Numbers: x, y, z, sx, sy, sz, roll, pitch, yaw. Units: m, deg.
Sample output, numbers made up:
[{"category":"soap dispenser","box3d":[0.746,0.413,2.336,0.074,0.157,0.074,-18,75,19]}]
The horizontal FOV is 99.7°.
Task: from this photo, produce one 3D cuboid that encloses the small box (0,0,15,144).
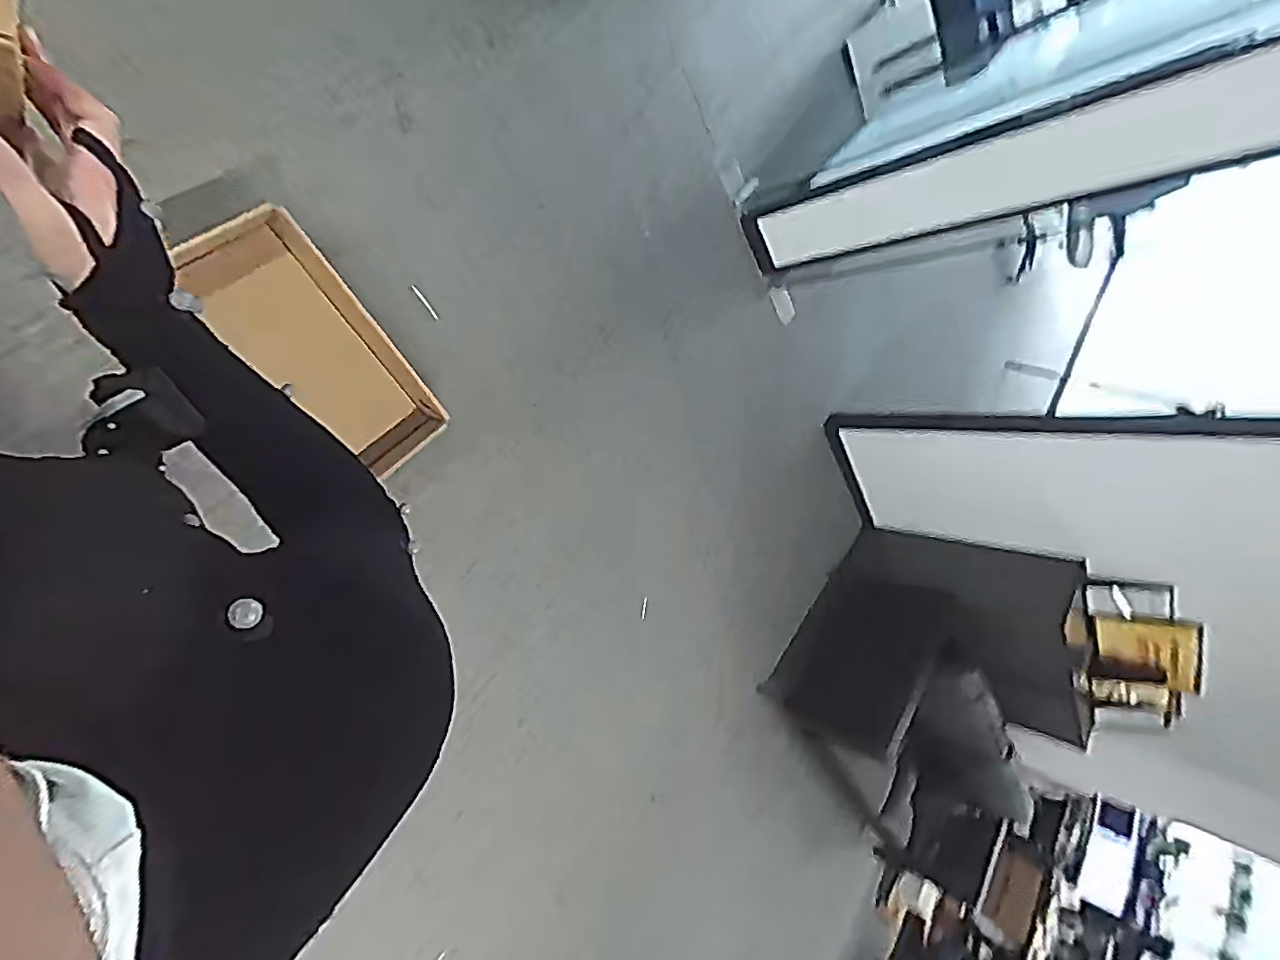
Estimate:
[{"category":"small box","box3d":[-0.487,-0.336,0.308,0.168,0.176,0.179,-3,90,-48]}]
